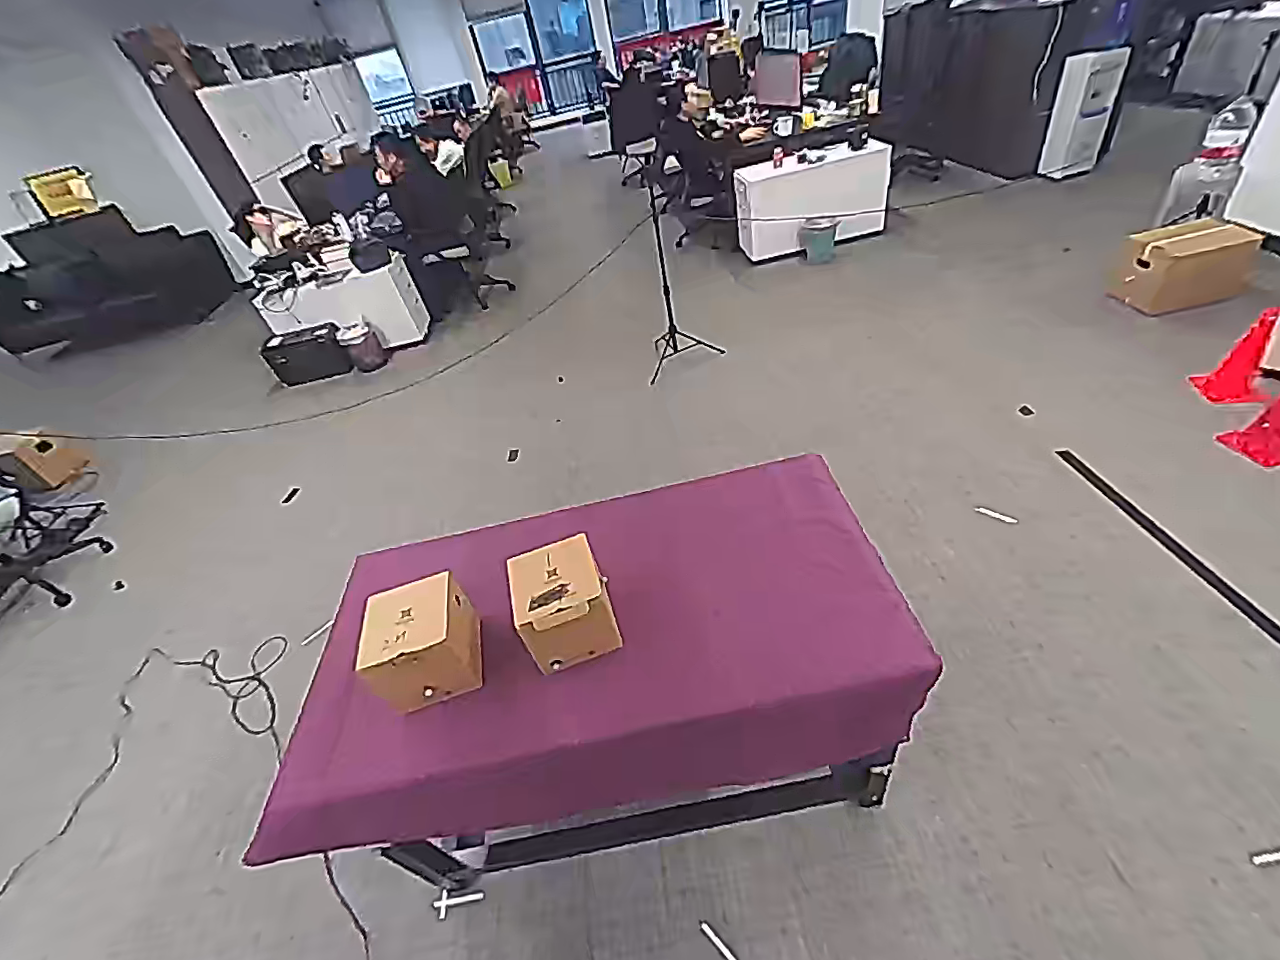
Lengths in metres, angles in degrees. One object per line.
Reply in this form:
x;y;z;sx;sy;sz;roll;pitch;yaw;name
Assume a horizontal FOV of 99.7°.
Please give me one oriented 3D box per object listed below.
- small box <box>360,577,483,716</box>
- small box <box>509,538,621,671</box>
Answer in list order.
-0.419;0.329;1.068;0.168;0.176;0.179;-18;40;-4;small box
-0.146;0.254;1.074;0.168;0.176;0.179;-19;39;-6;small box
